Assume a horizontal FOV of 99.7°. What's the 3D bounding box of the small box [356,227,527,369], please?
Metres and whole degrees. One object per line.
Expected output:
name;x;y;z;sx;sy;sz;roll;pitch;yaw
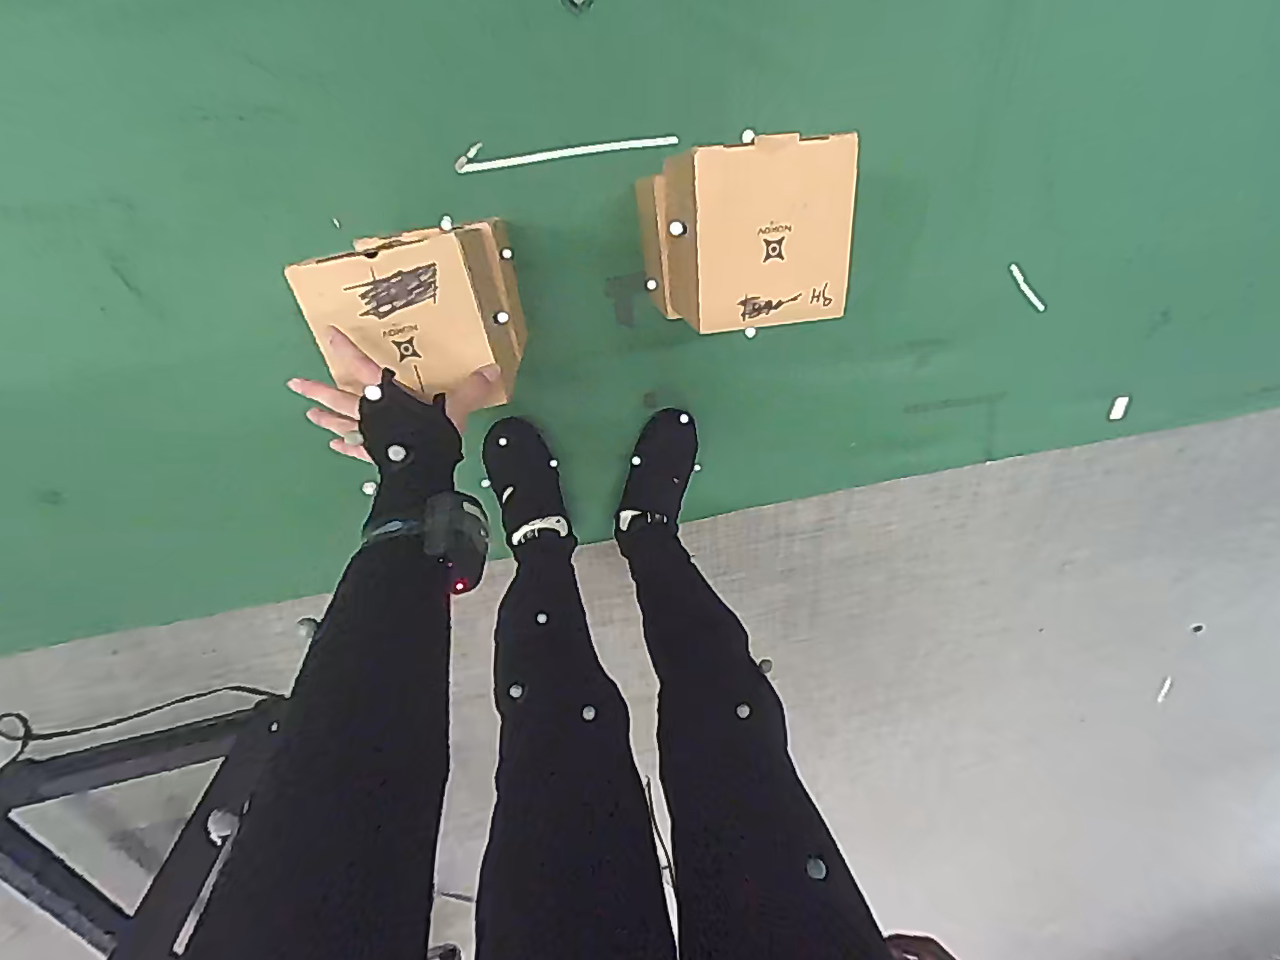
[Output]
small box;-0.260;-0.250;0.761;0.168;0.176;0.179;-10;116;-3

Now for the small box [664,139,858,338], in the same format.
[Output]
small box;0.125;-0.273;0.619;0.168;0.176;0.179;-8;117;-5

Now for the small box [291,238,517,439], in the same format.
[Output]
small box;-0.246;-0.170;0.617;0.168;0.176;0.179;-12;118;-1
